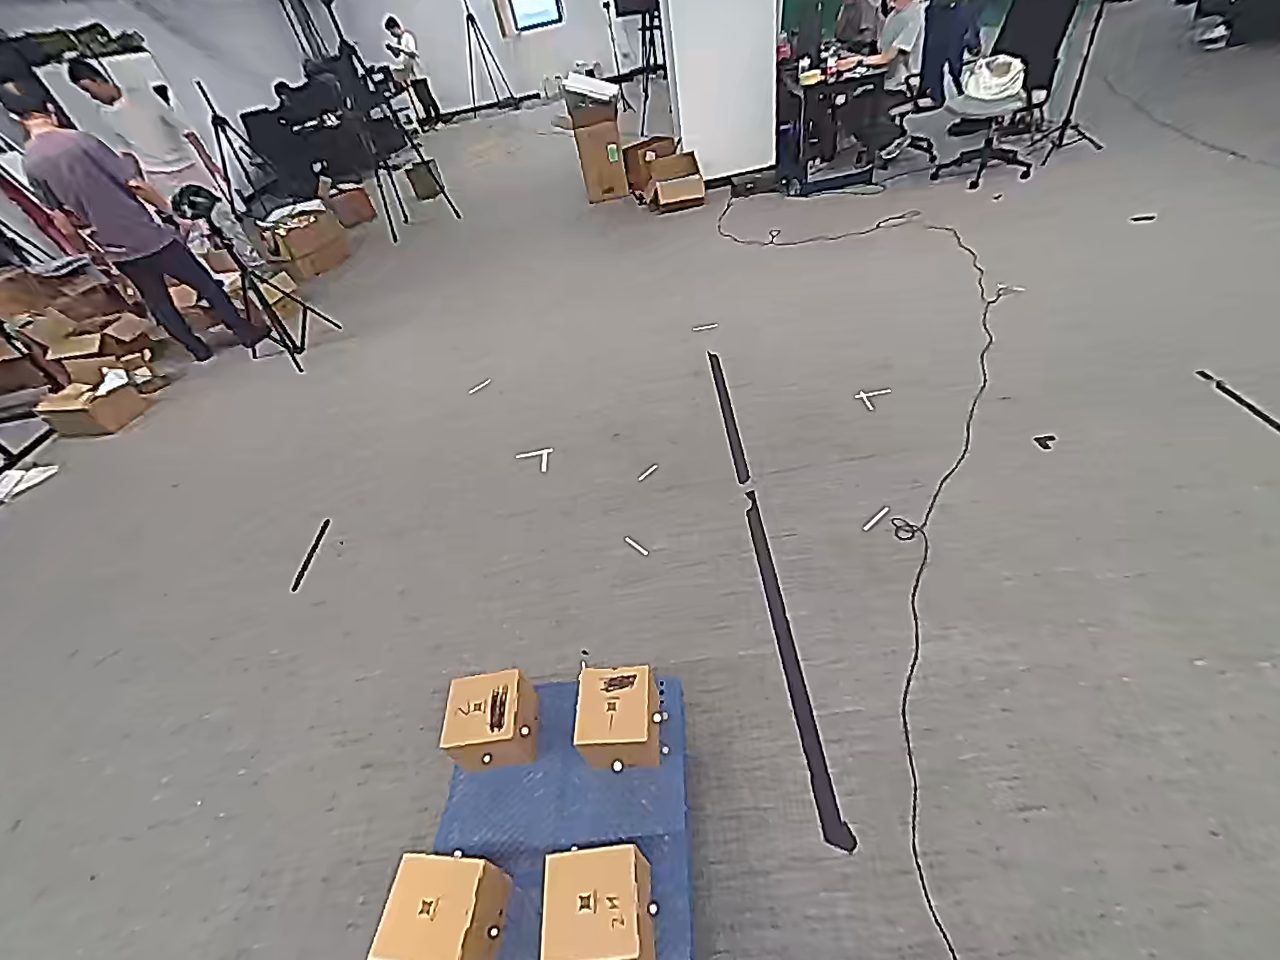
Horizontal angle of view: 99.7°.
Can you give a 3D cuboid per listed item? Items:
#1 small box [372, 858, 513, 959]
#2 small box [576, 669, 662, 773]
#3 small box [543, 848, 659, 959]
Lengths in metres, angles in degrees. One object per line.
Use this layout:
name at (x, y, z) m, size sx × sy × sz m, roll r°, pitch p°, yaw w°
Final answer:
small box at (-0.372, 0.860, 1.050) m, size 0.179 × 0.176 × 0.168 m, roll -2°, pitch 43°, yaw 10°
small box at (-0.043, 0.568, 1.273) m, size 0.168 × 0.176 × 0.179 m, roll -6°, pitch 44°, yaw 8°
small box at (-0.068, 0.817, 1.014) m, size 0.179 × 0.176 × 0.168 m, roll -10°, pitch 43°, yaw 4°
